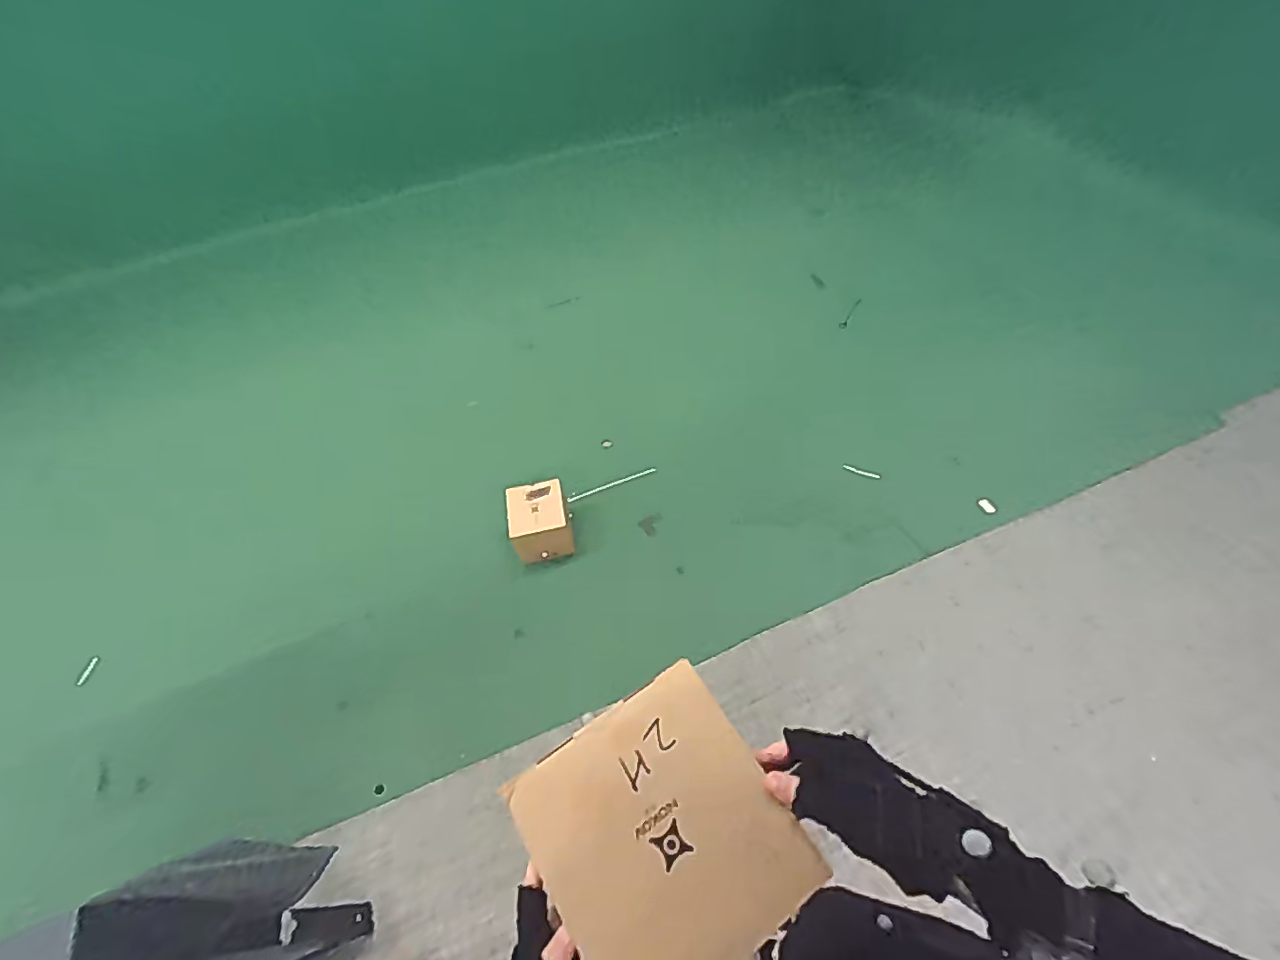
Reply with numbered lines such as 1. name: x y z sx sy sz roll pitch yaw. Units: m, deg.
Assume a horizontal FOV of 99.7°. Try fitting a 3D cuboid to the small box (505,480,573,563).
1. small box: -0.305 0.128 1.641 0.168 0.176 0.179 -12 55 -4
